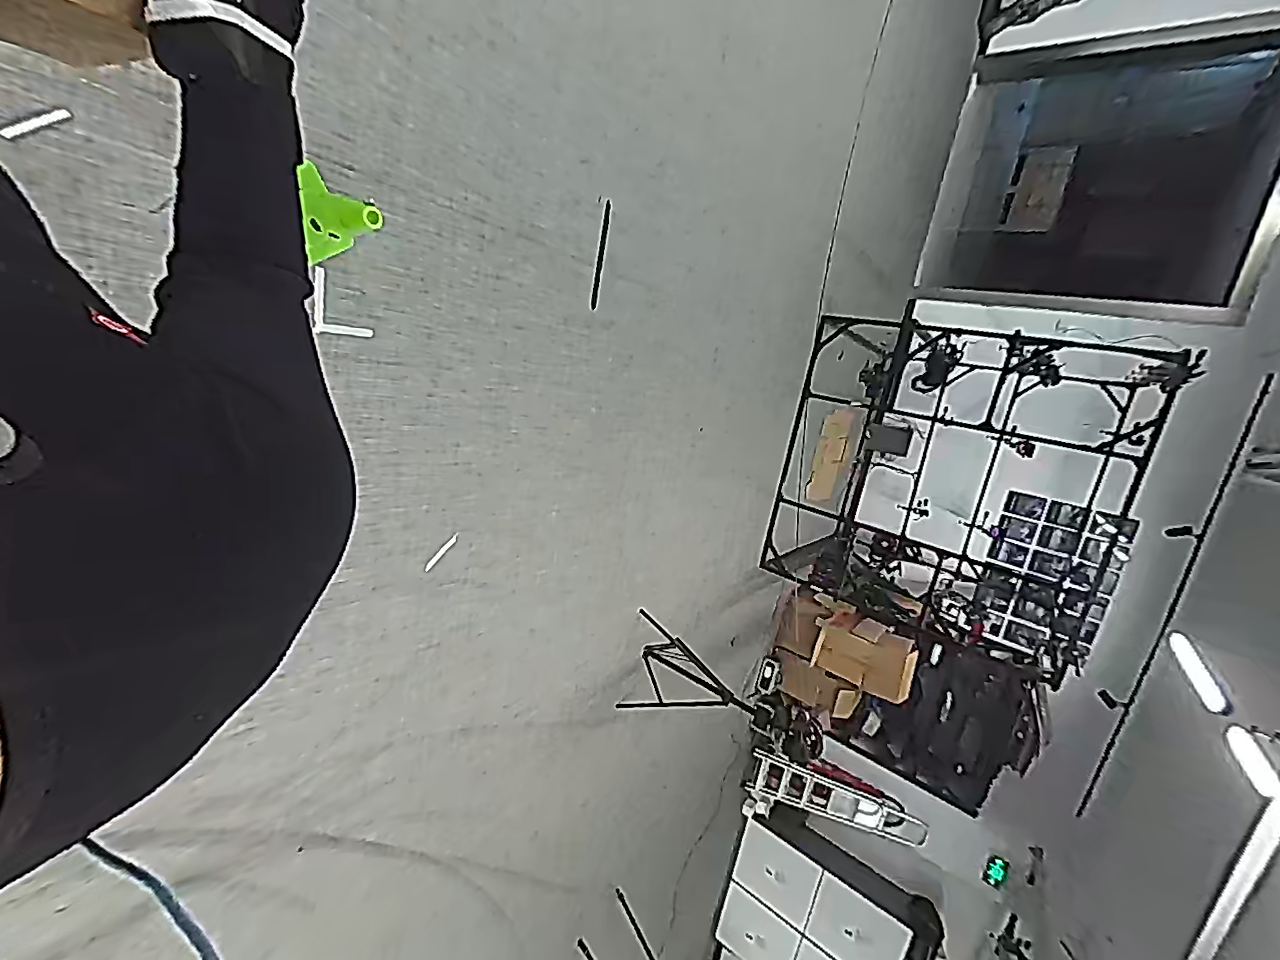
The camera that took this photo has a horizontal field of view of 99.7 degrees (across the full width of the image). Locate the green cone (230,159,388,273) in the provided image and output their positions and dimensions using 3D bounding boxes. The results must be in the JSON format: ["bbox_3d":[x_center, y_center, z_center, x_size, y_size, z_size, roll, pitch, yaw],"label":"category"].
[{"bbox_3d":[-0.662,-0.565,1.161,0.202,0.368,0.200,-49,141,-32],"label":"green cone"}]

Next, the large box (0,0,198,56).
[{"bbox_3d":[-0.506,-0.476,0.247,0.408,0.320,0.320,-10,120,-55],"label":"large box"}]
